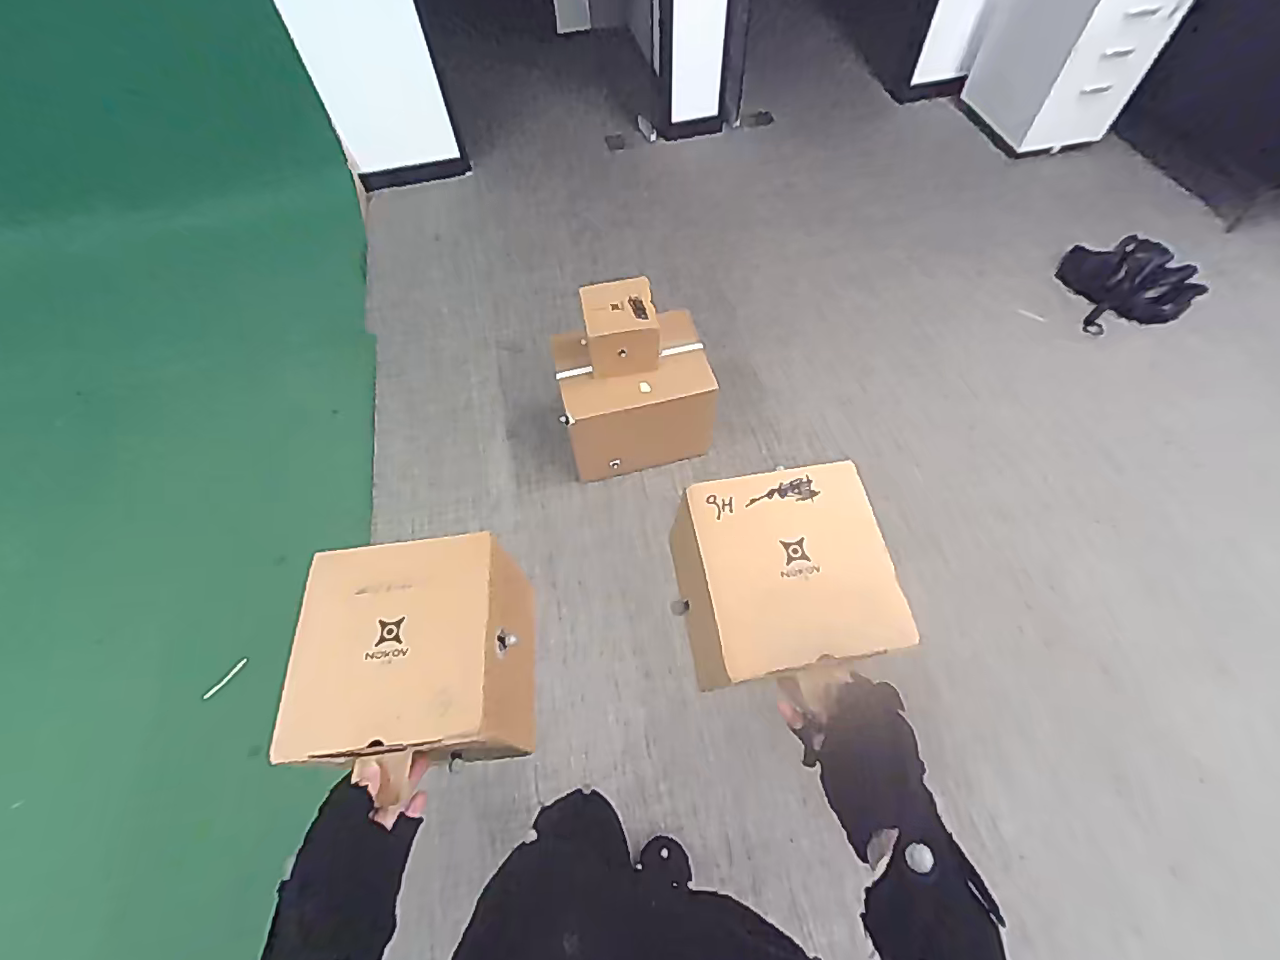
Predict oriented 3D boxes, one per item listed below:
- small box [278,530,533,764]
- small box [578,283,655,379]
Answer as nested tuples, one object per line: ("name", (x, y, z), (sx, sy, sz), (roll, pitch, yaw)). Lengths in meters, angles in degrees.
("small box", (-0.204, 0.171, 0.529), (0.168, 0.176, 0.179), (-8, 58, -1))
("small box", (-0.060, -0.379, 1.393), (0.179, 0.176, 0.168), (-7, 63, -3))
